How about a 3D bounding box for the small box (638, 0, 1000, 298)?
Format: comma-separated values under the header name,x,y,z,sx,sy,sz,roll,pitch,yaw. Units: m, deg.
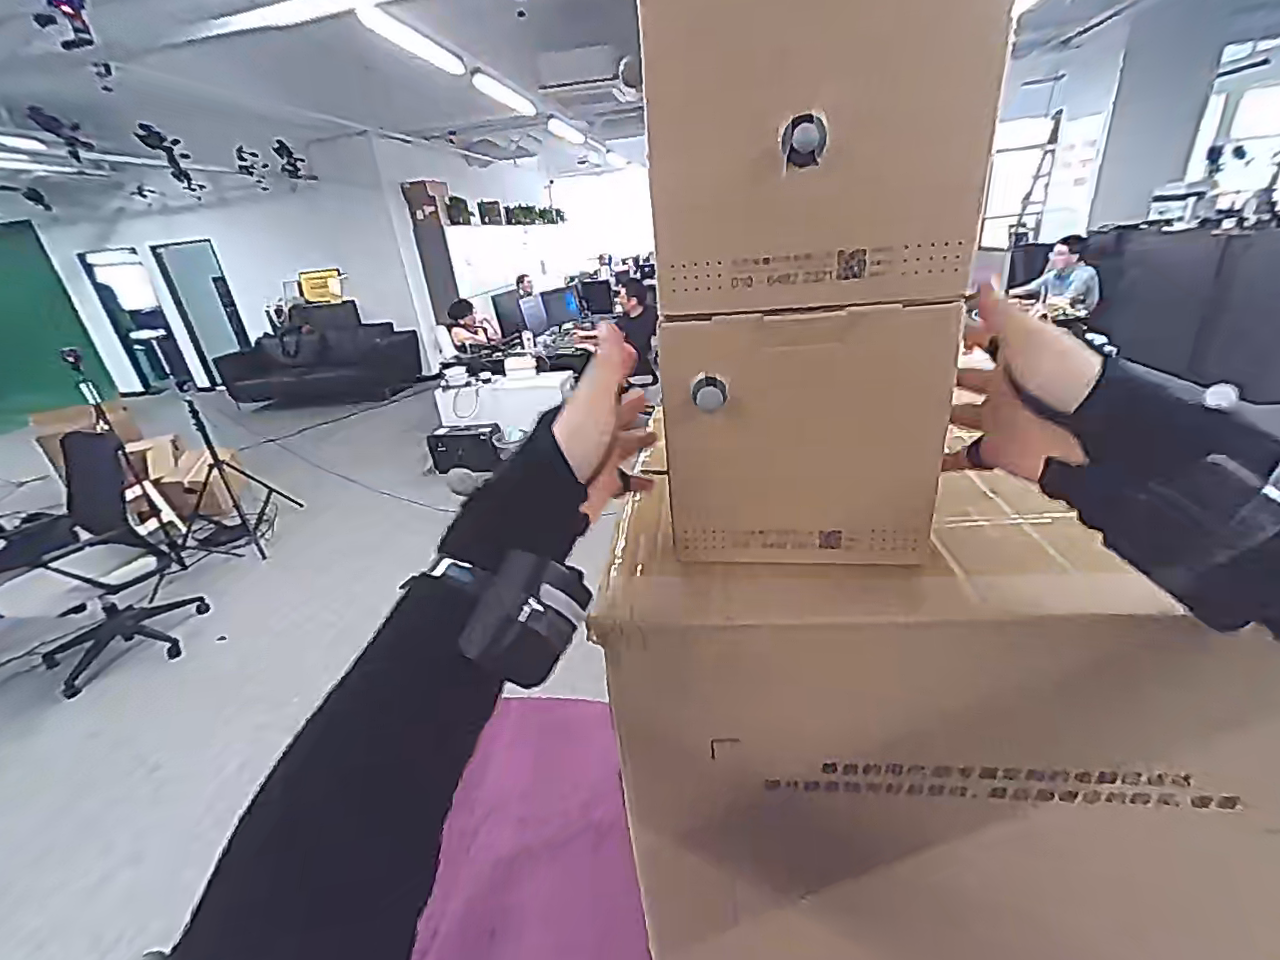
name,x,y,z,sx,sy,sz,roll,pitch,yaw
small box,0.097,-0.210,0.336,0.168,0.176,0.179,0,25,9
